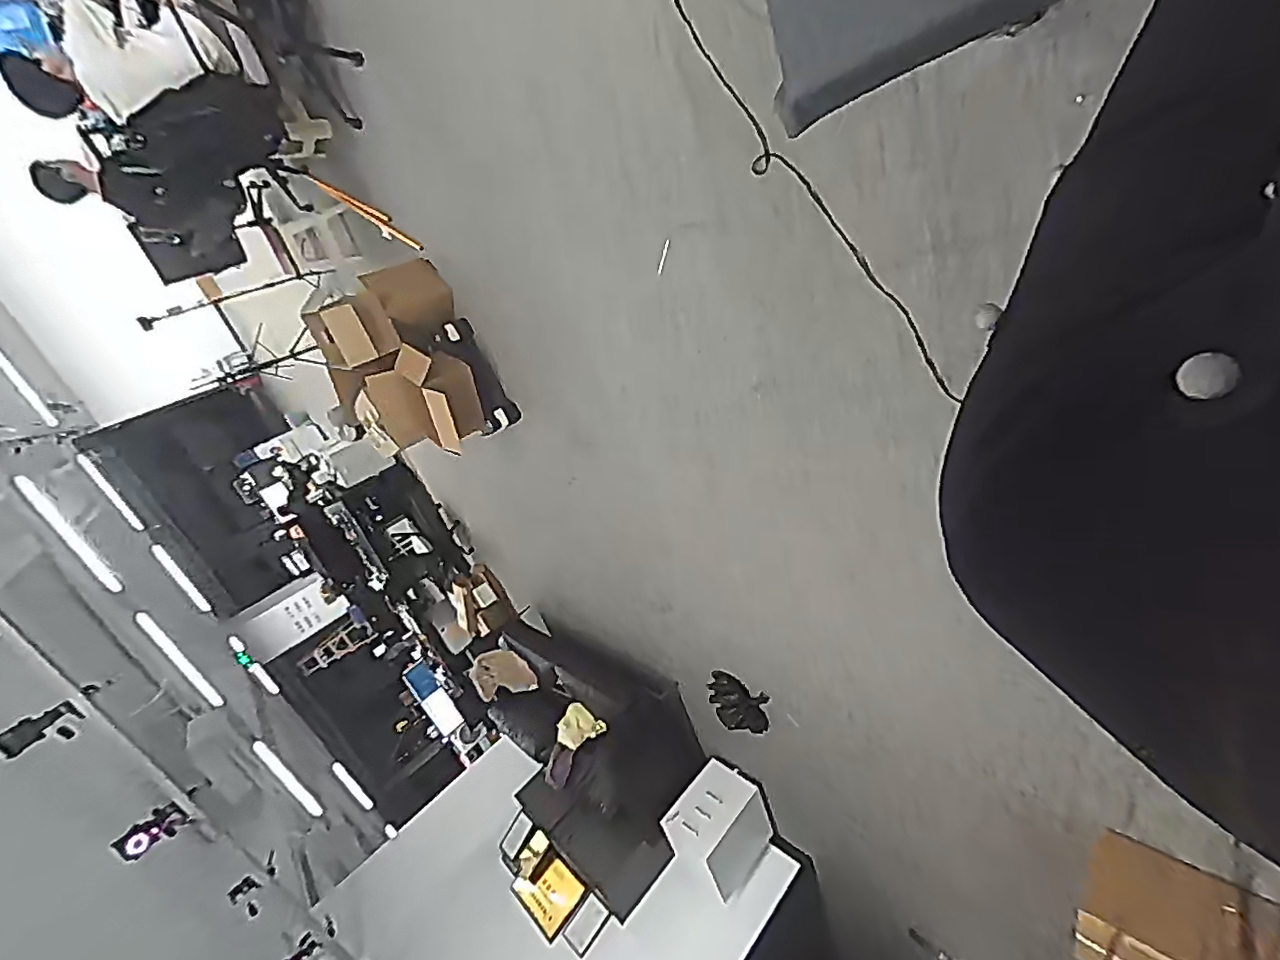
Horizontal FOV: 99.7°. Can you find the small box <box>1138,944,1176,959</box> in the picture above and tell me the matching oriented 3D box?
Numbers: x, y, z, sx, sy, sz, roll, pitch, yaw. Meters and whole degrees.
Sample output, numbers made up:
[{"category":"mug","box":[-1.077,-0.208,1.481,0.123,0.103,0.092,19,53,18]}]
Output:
[{"category":"small box","box":[1.478,1.448,1.487,0.168,0.176,0.179,4,122,52]}]
